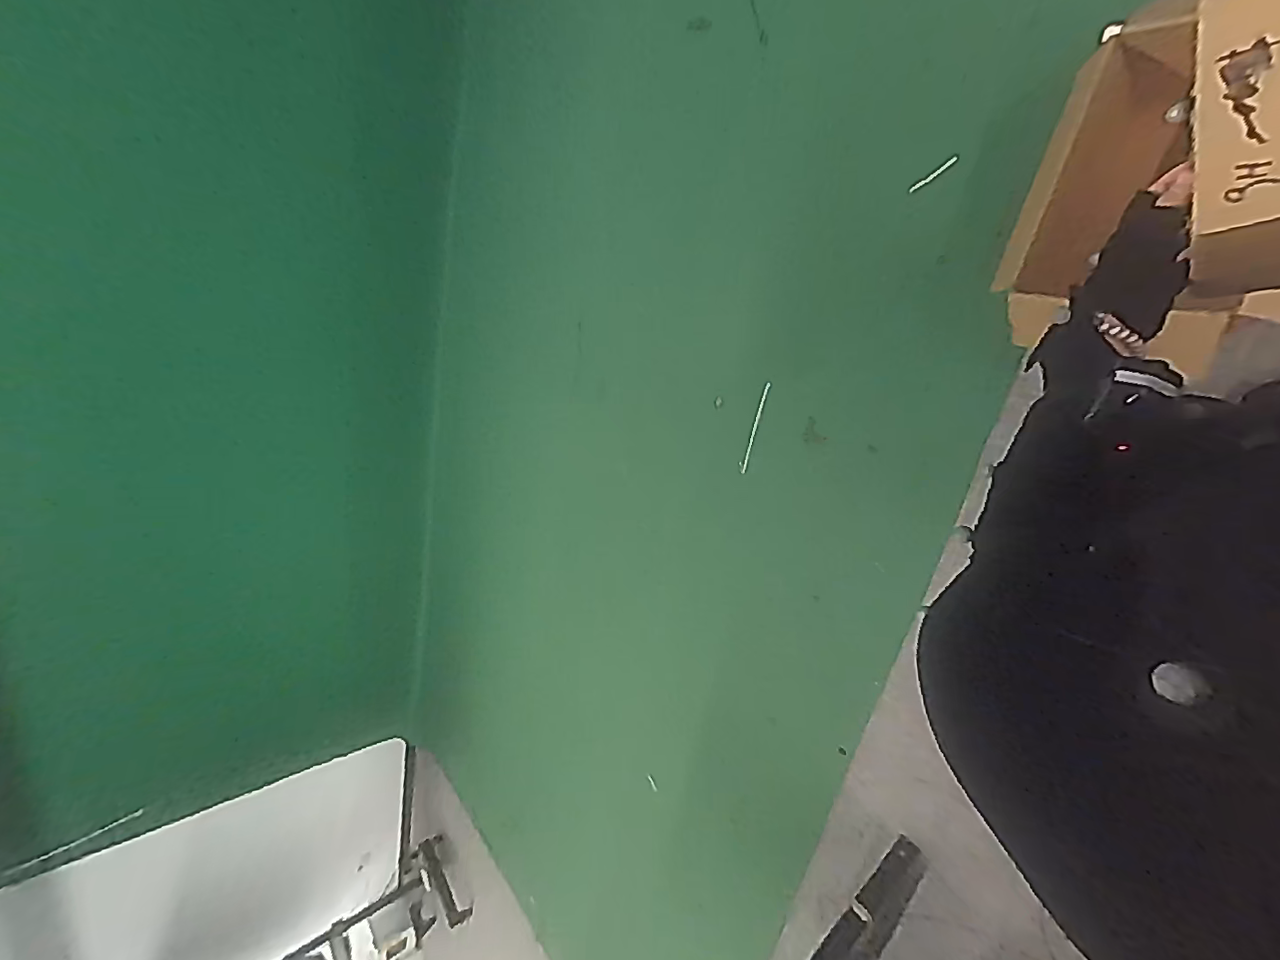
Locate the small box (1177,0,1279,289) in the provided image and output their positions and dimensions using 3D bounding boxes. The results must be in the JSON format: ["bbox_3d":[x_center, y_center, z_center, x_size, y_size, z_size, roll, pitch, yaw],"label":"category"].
[{"bbox_3d":[0.498,-0.249,0.370,0.179,0.176,0.168,3,90,44],"label":"small box"}]
